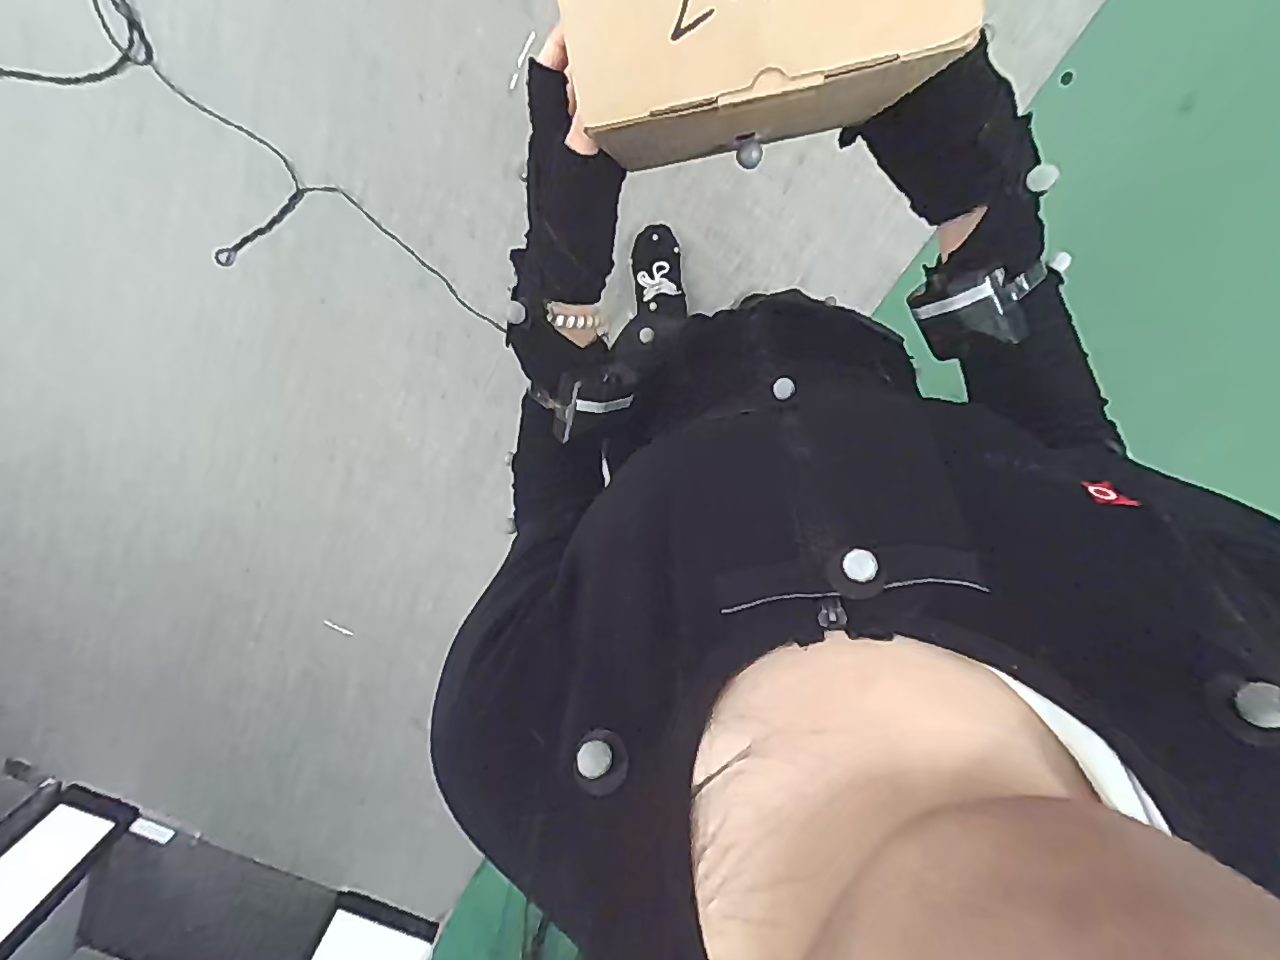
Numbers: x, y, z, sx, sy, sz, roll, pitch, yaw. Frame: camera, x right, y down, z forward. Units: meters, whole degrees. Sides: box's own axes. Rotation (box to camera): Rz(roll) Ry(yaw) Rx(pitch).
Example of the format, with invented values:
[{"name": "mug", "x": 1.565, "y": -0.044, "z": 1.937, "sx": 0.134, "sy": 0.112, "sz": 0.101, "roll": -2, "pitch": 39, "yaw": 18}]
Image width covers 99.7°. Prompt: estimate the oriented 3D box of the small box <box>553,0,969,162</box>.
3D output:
[{"name": "small box", "x": 0.045, "y": -0.279, "z": 0.267, "sx": 0.168, "sy": 0.176, "sz": 0.179, "roll": -7, "pitch": 114, "yaw": 10}]
